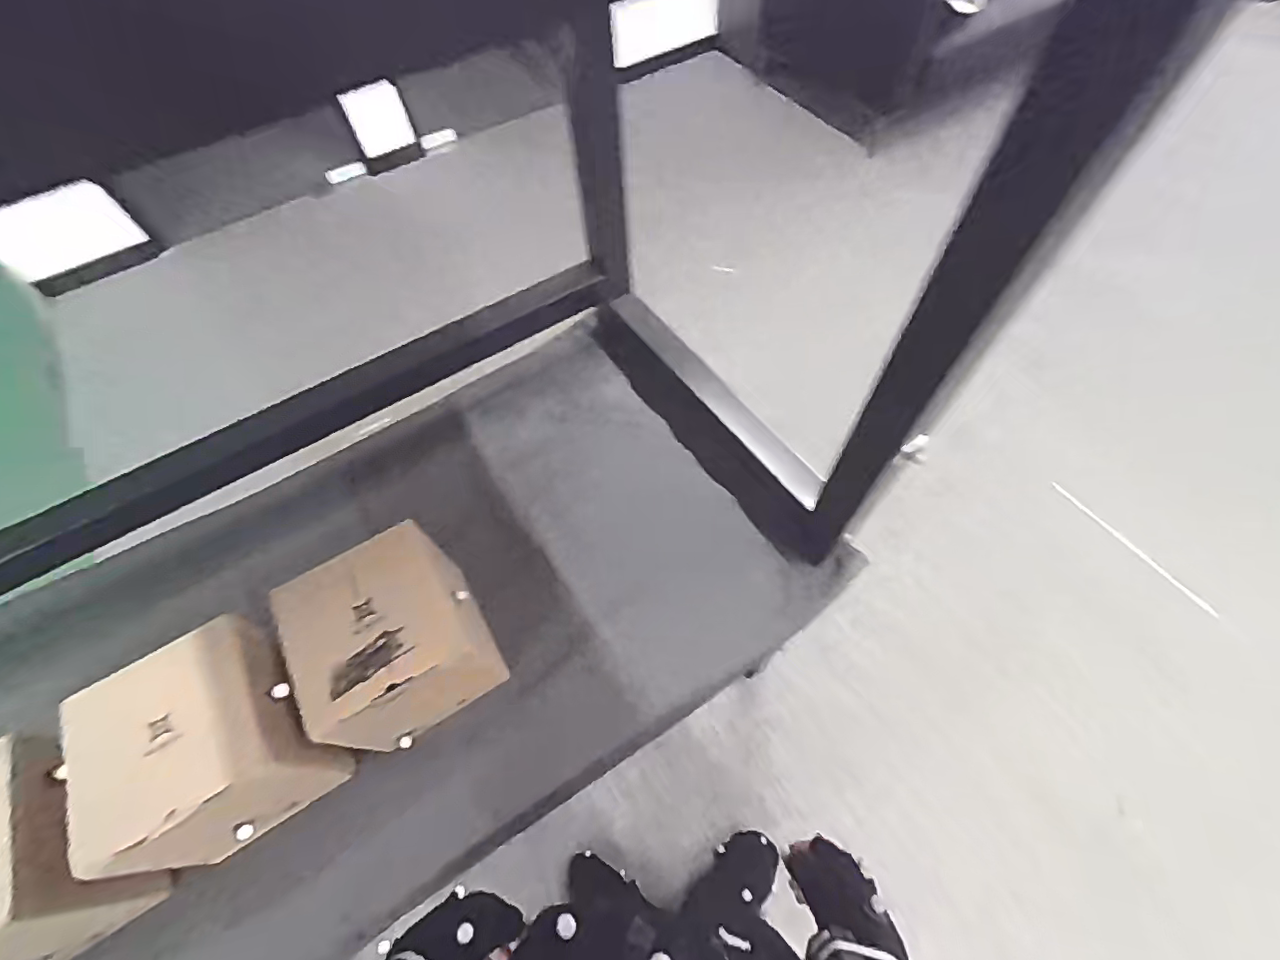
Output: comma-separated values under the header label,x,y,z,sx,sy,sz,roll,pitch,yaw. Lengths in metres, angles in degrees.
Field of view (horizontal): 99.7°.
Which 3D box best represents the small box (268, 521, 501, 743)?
label,x,y,z,sx,sy,sz,roll,pitch,yaw
small box,-0.287,0.186,0.635,0.168,0.176,0.179,-30,61,-14
